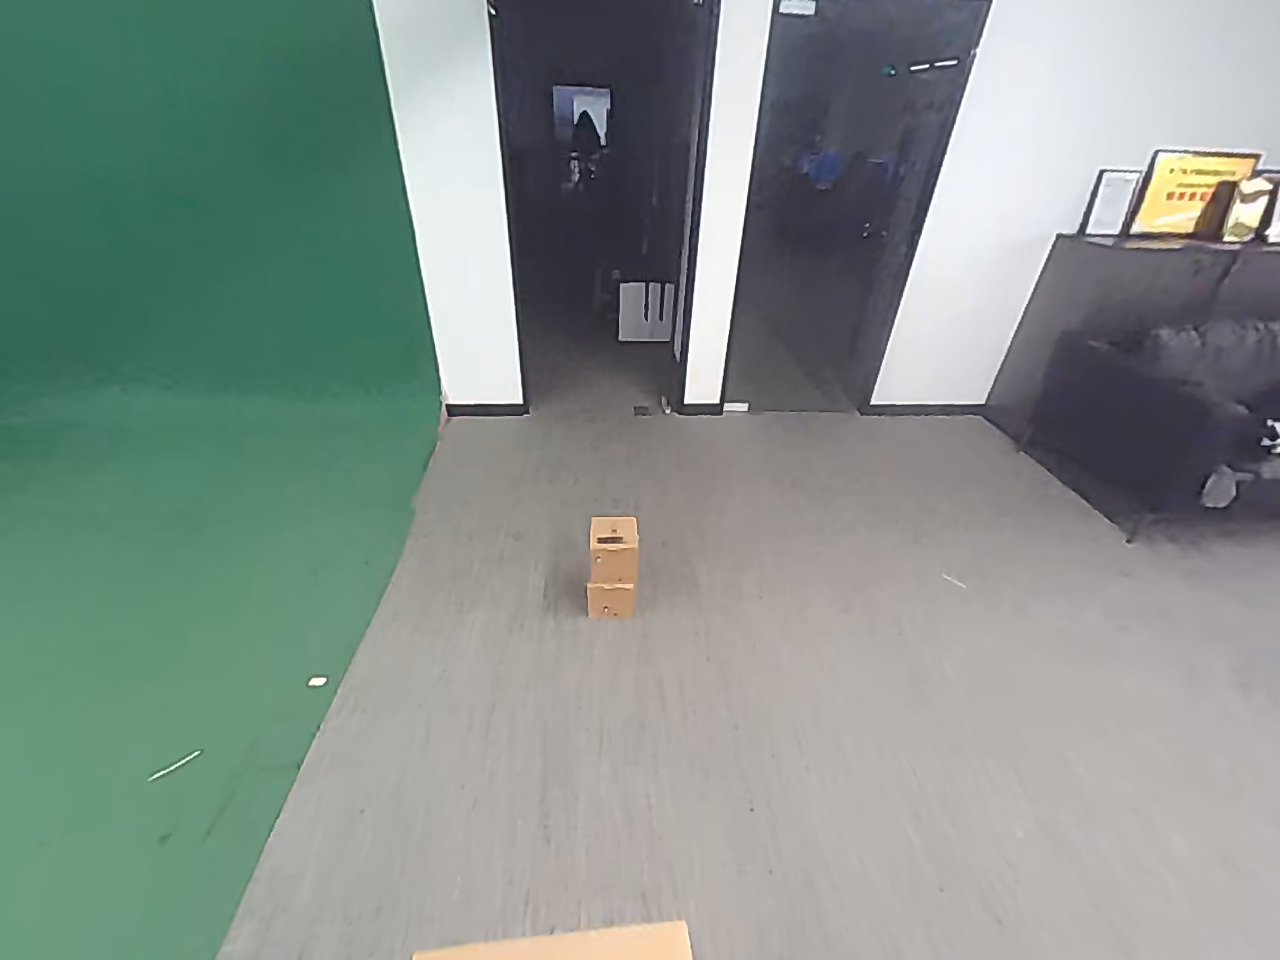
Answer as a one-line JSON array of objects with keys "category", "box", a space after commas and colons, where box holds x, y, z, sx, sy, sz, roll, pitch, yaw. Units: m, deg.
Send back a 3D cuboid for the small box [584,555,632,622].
[{"category": "small box", "box": [-0.120, 0.405, 2.022, 0.168, 0.176, 0.179, 3, 34, -1]}]
